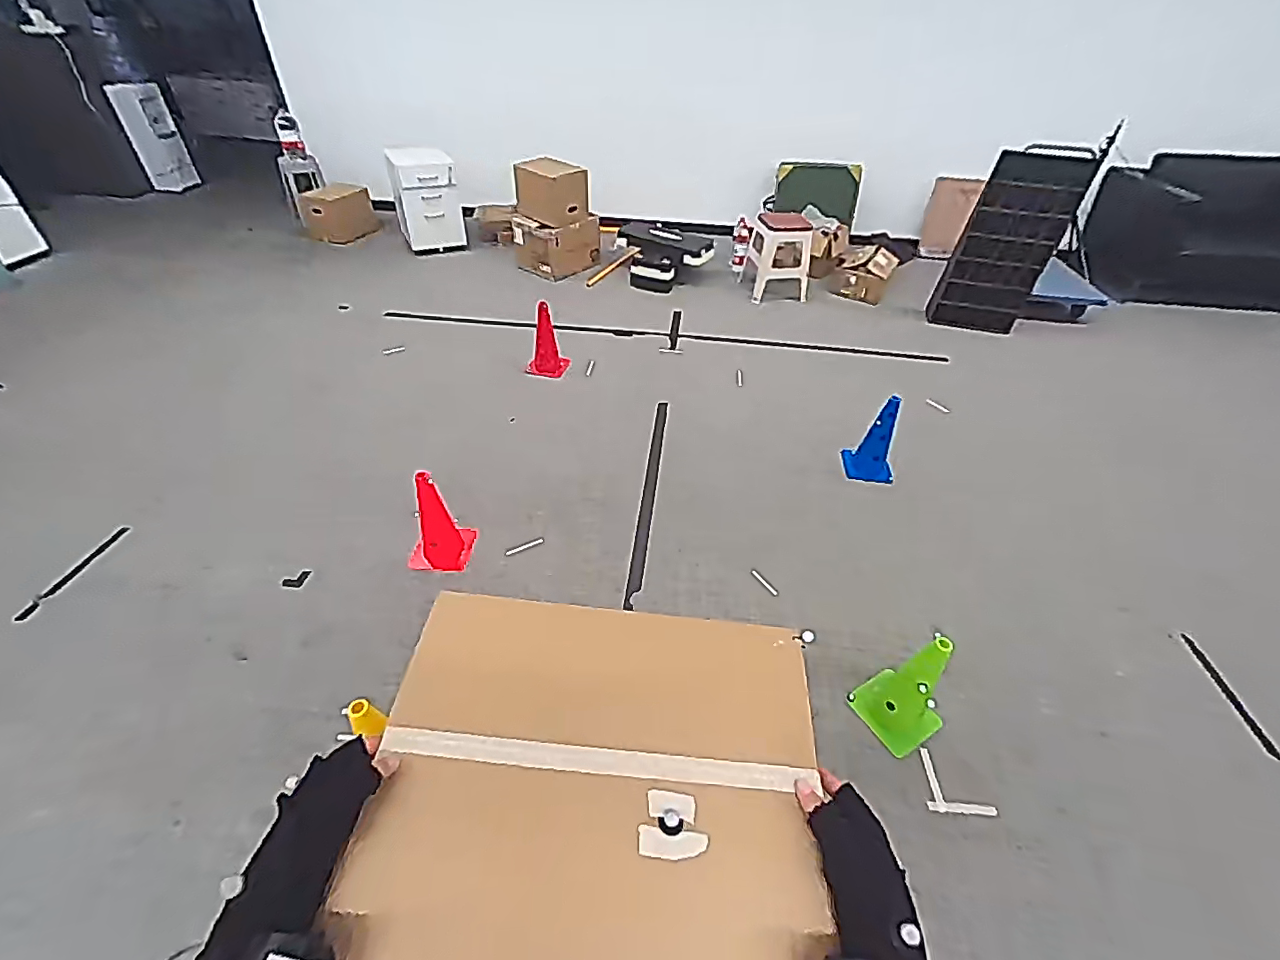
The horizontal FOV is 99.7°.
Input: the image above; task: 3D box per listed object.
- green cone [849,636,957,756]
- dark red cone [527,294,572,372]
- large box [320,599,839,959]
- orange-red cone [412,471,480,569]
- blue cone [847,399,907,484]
[{"bbox_3d":[0.741,0.534,1.433,0.202,0.368,0.200,-19,47,-25],"label":"green cone"},{"bbox_3d":[-0.467,-0.754,2.761,0.201,0.394,0.202,11,43,7],"label":"dark red cone"},{"bbox_3d":[-0.046,0.365,0.613,0.408,0.320,0.320,7,47,0],"label":"large box"},{"bbox_3d":[-0.687,0.113,1.817,0.198,0.360,0.199,4,43,2],"label":"orange-red cone"},{"bbox_3d":[1.021,-0.176,2.269,0.192,0.380,0.193,9,42,5],"label":"blue cone"}]
